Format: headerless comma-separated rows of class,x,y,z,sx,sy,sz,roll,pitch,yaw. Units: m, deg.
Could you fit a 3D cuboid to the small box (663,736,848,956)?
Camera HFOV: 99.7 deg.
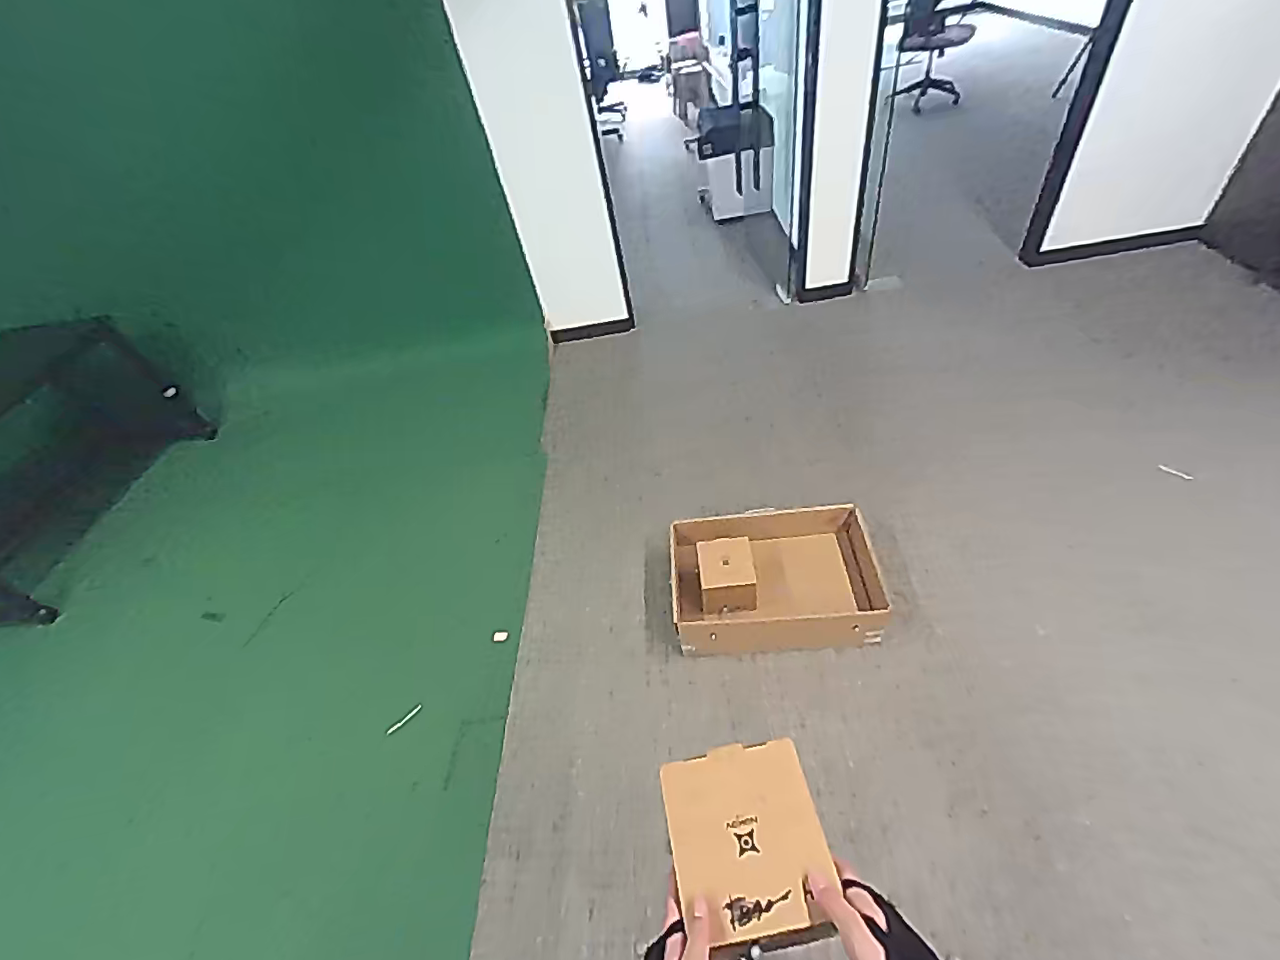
small box,0.128,0.439,0.648,0.168,0.176,0.179,-12,45,1
